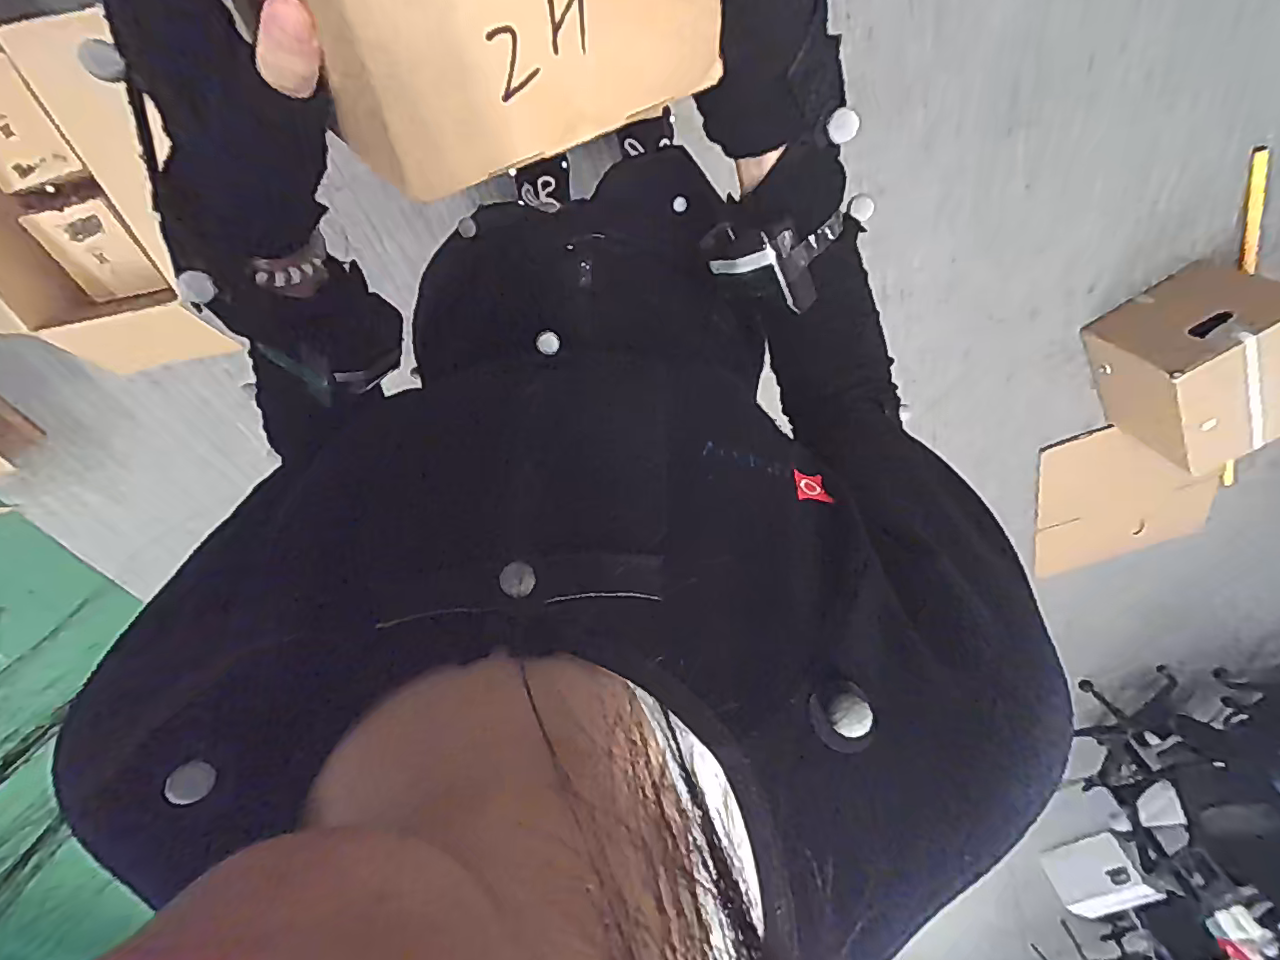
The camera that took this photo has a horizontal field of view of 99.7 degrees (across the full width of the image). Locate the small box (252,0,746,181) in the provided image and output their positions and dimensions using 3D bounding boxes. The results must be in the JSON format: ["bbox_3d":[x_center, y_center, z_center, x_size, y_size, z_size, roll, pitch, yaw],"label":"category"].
[{"bbox_3d":[-0.070,-0.252,0.194,0.168,0.176,0.179,-36,153,-20],"label":"small box"}]
